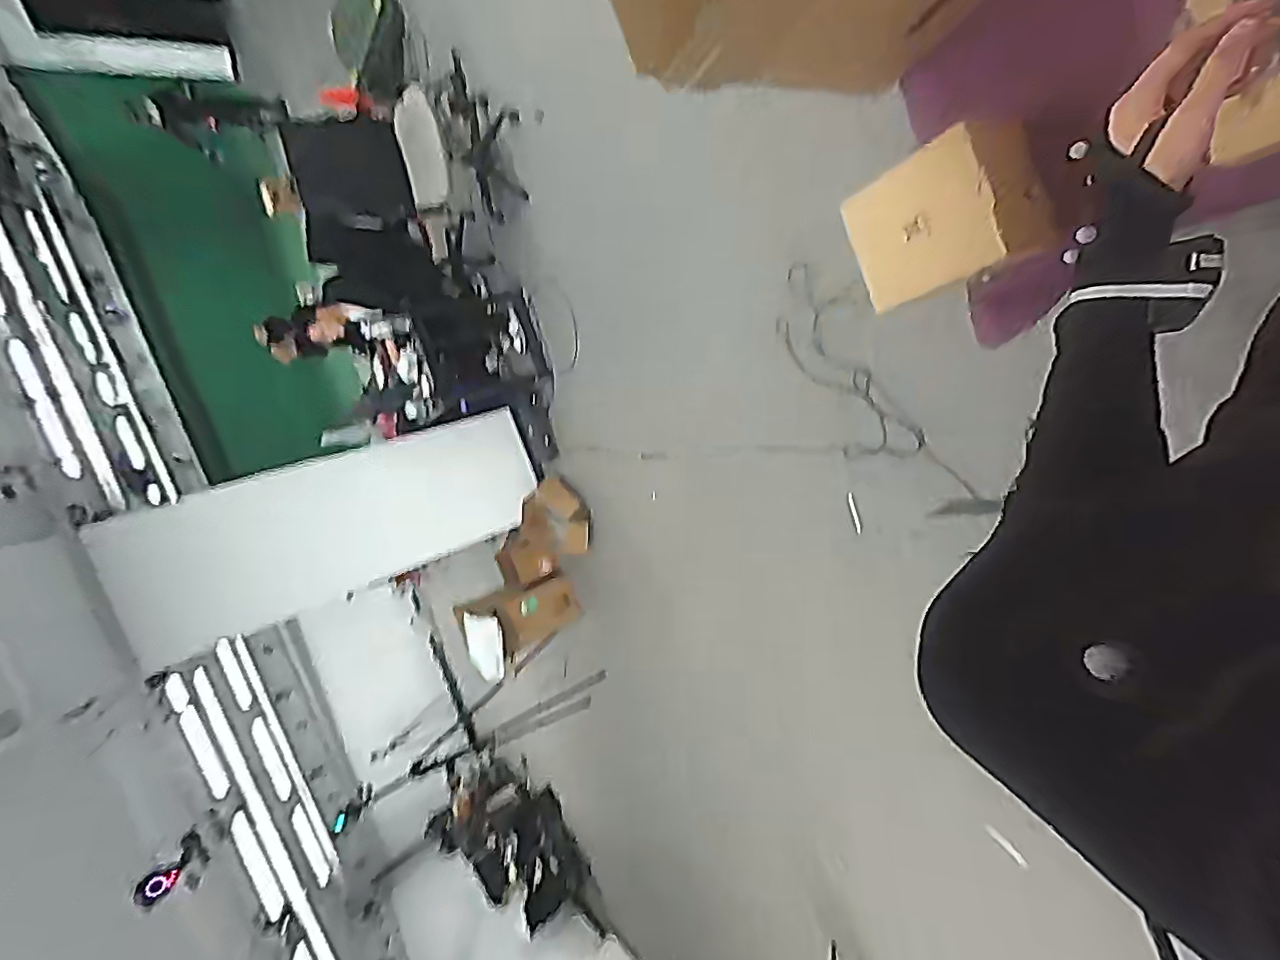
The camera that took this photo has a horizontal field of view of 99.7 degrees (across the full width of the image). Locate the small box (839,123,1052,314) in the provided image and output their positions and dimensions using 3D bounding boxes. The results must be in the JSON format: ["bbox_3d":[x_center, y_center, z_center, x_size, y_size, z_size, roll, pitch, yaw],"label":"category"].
[{"bbox_3d":[0.416,-0.348,0.741,0.179,0.176,0.168,-17,94,56],"label":"small box"}]
